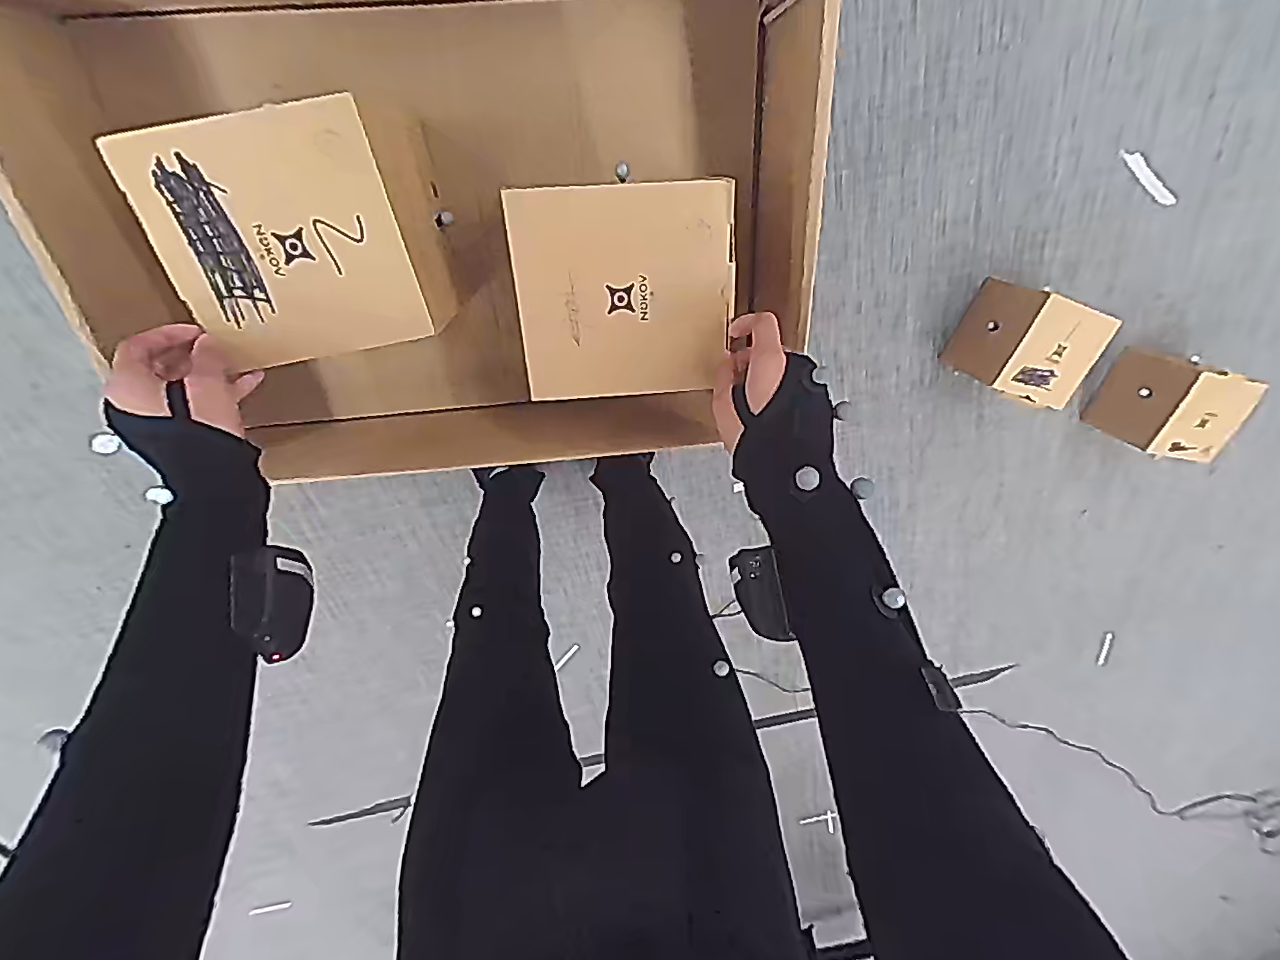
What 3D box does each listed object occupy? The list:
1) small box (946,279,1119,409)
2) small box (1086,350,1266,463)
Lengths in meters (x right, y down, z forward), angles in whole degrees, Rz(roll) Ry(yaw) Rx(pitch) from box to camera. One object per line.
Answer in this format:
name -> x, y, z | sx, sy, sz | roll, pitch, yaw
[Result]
small box -> 0.726, -0.263, 1.029 | 0.168, 0.176, 0.179 | 14, 116, -13
small box -> 1.095, -0.159, 1.126 | 0.168, 0.176, 0.179 | 8, 117, -10
